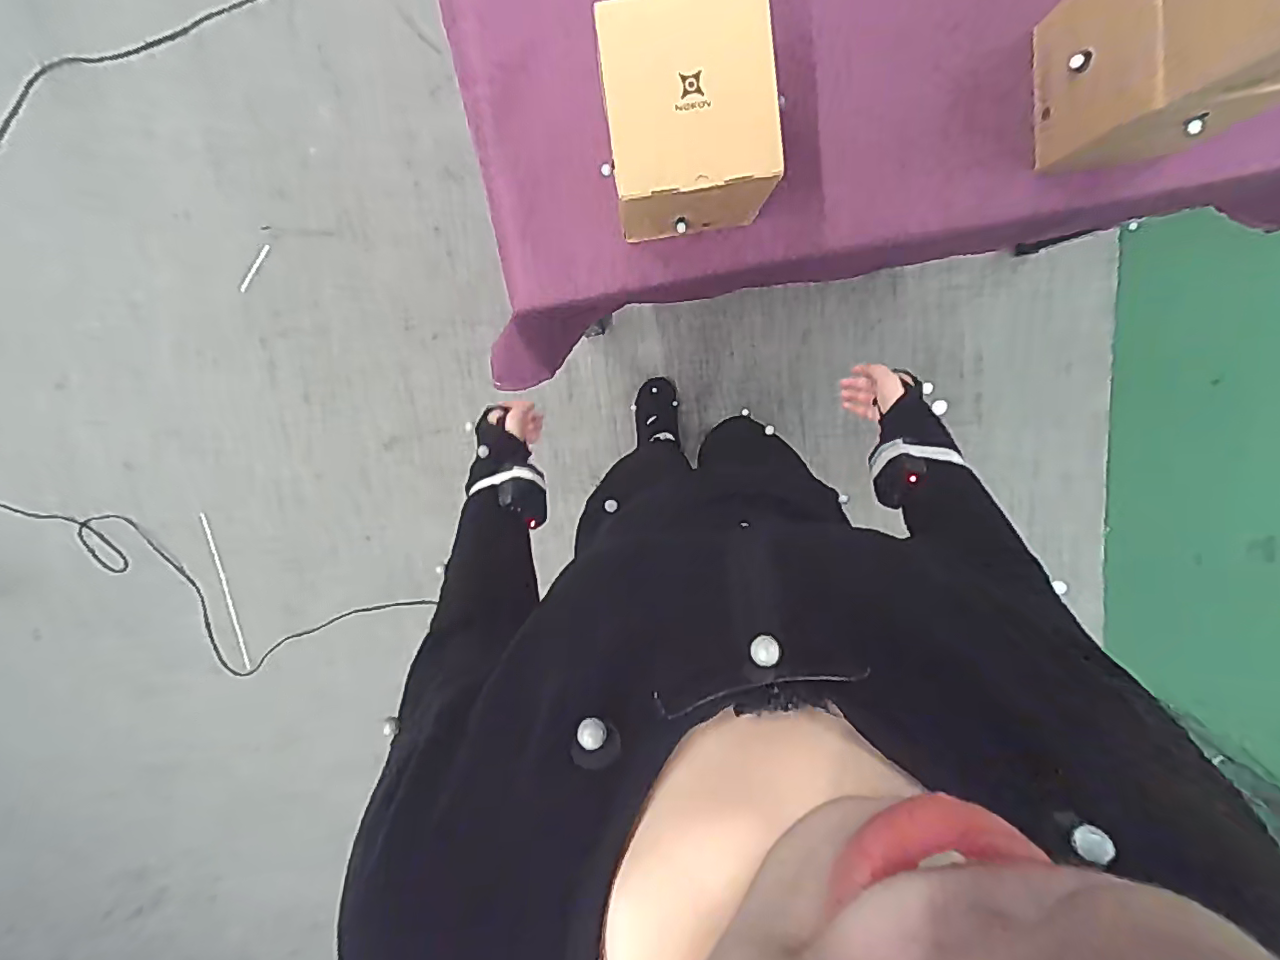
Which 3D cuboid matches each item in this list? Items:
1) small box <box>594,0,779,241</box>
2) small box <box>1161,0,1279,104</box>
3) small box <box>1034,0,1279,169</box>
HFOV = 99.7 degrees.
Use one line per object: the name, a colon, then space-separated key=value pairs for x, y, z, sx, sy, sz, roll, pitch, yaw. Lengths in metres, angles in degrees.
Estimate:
small box: x=0.046 y=-0.388 z=0.601 sx=0.168 sy=0.176 sz=0.179 roll=-8 pitch=100 yaw=2
small box: x=0.559 y=-0.439 z=0.418 sx=0.168 sy=0.176 sz=0.179 roll=-10 pitch=100 yaw=3
small box: x=0.562 y=-0.459 z=0.581 sx=0.179 sy=0.176 sz=0.168 roll=-8 pitch=100 yaw=2
